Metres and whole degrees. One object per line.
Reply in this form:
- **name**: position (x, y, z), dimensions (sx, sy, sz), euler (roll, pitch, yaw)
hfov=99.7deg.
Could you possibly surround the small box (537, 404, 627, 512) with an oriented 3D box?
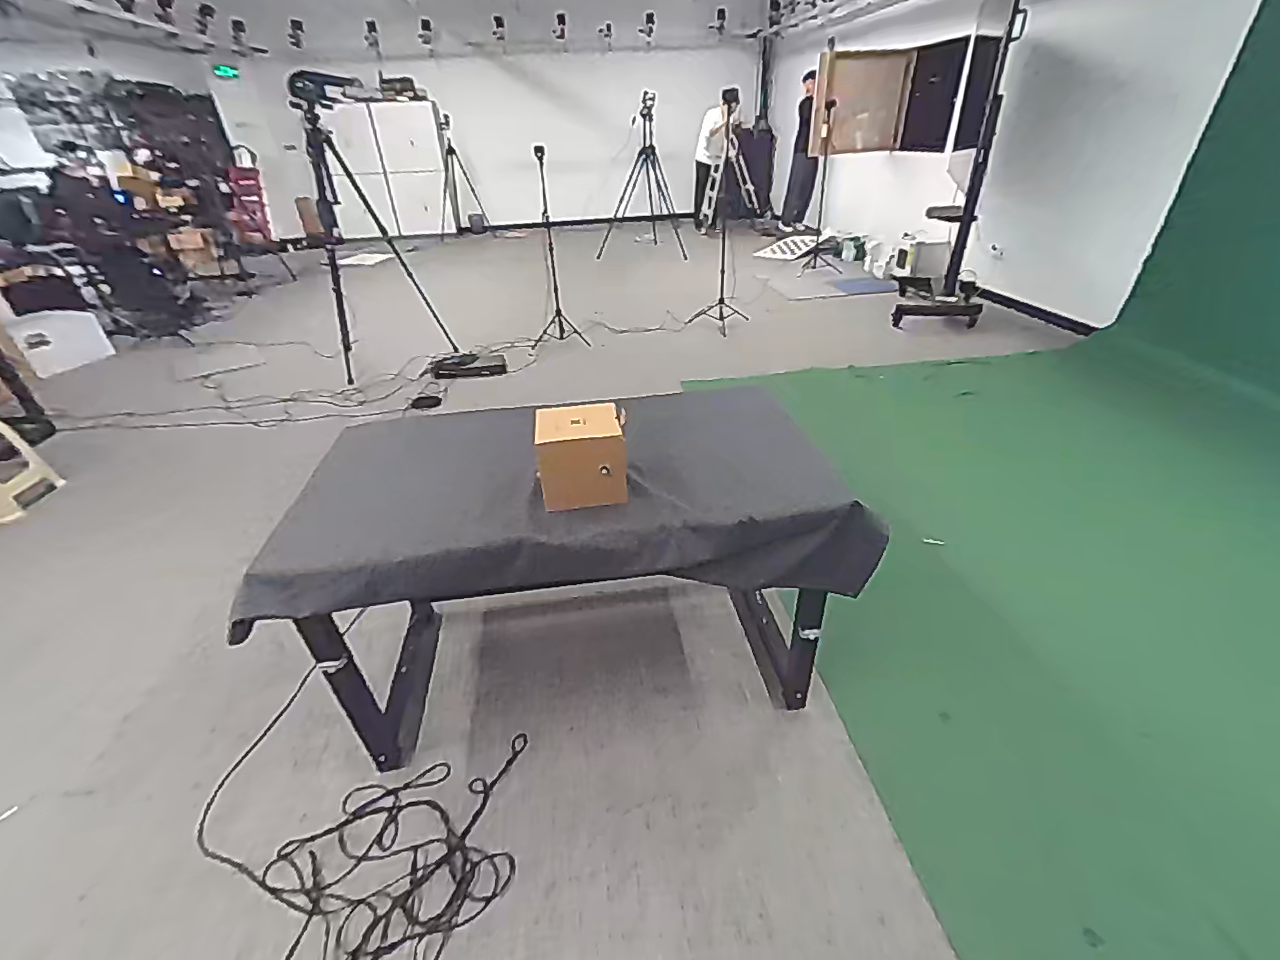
- **small box**: position (-0.123, -0.048, 1.172), dimensions (0.179, 0.176, 0.168), euler (-7, 32, -5)
